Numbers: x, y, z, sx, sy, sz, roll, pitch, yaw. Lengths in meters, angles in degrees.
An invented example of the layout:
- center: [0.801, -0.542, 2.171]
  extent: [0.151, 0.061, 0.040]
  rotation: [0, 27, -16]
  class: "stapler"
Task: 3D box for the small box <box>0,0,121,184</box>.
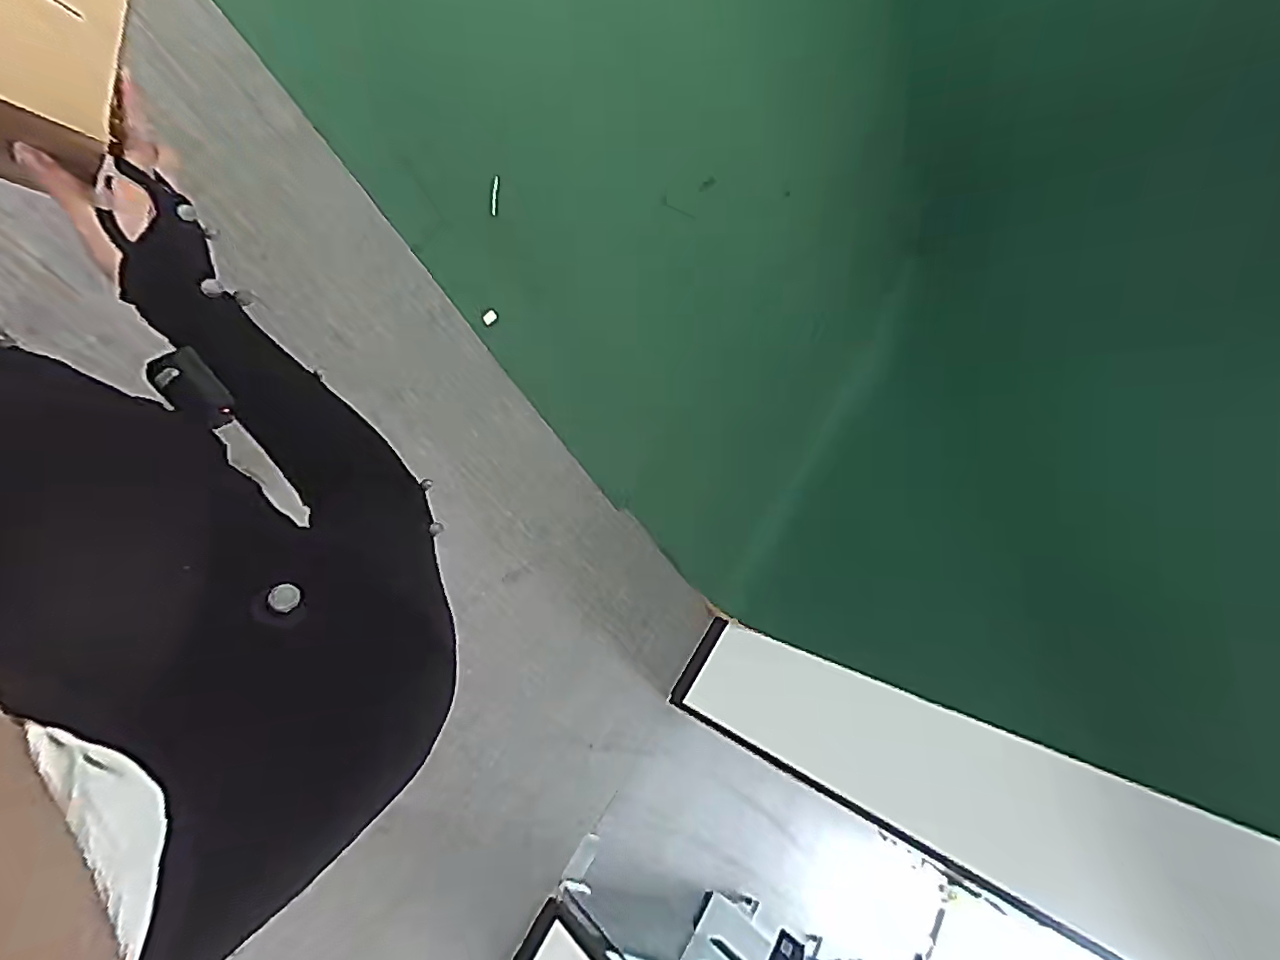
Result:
- center: [-0.493, -0.343, 0.377]
  extent: [0.179, 0.176, 0.168]
  rotation: [8, 86, -49]
  class: "small box"
